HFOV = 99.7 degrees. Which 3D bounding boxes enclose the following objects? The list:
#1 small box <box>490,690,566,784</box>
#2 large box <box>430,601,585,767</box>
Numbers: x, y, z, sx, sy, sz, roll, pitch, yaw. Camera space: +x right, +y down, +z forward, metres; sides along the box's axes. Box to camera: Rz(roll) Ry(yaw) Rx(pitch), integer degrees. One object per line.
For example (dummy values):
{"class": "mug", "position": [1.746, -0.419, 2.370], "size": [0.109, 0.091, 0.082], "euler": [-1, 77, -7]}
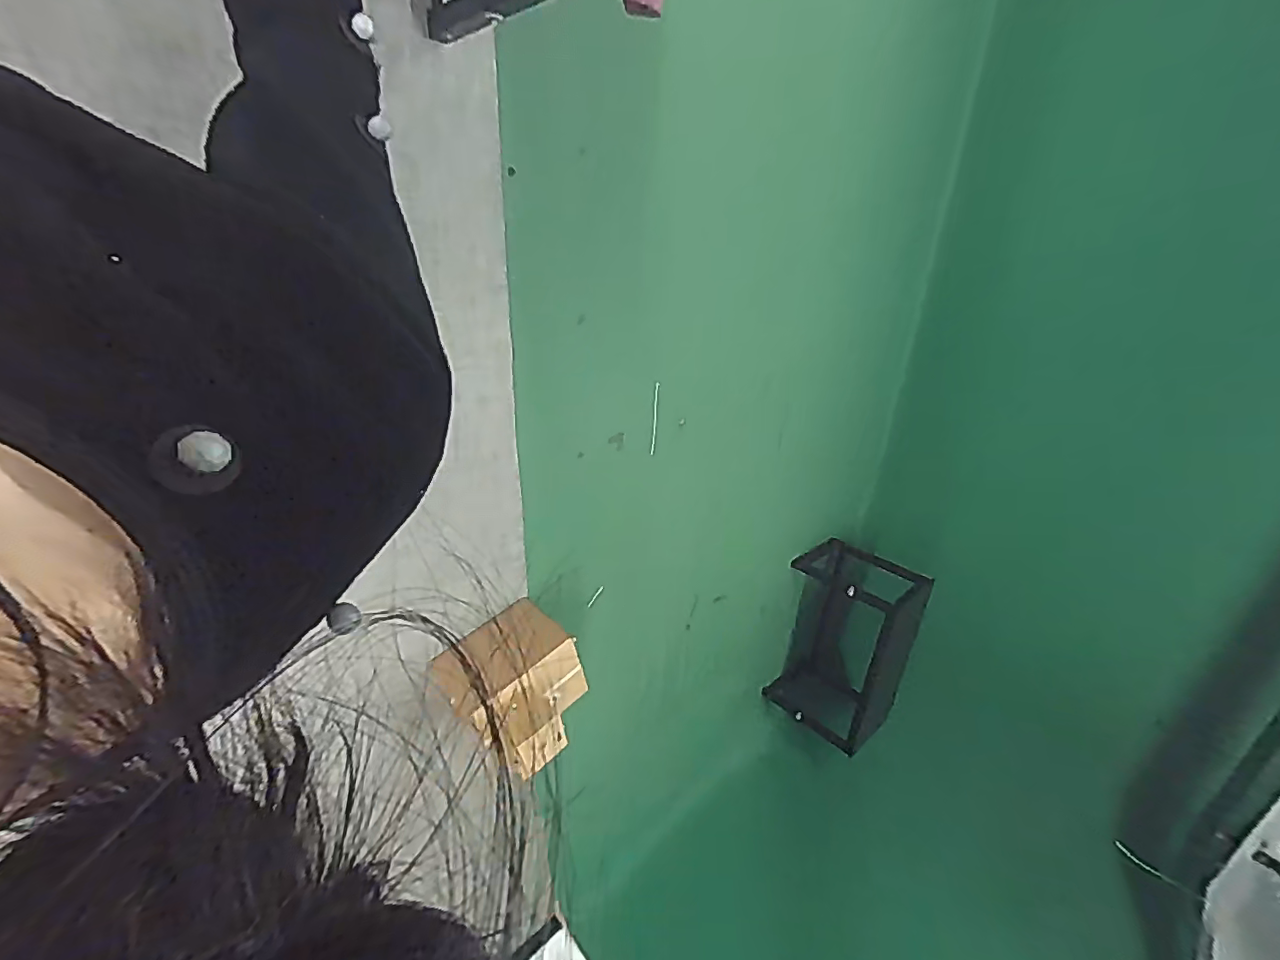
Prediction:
{"class": "small box", "position": [-0.368, 0.829, 1.757], "size": [0.179, 0.176, 0.168], "euler": [-29, 127, -34]}
{"class": "large box", "position": [-0.473, 0.725, 1.972], "size": [0.408, 0.320, 0.320], "euler": [-34, 131, -32]}
